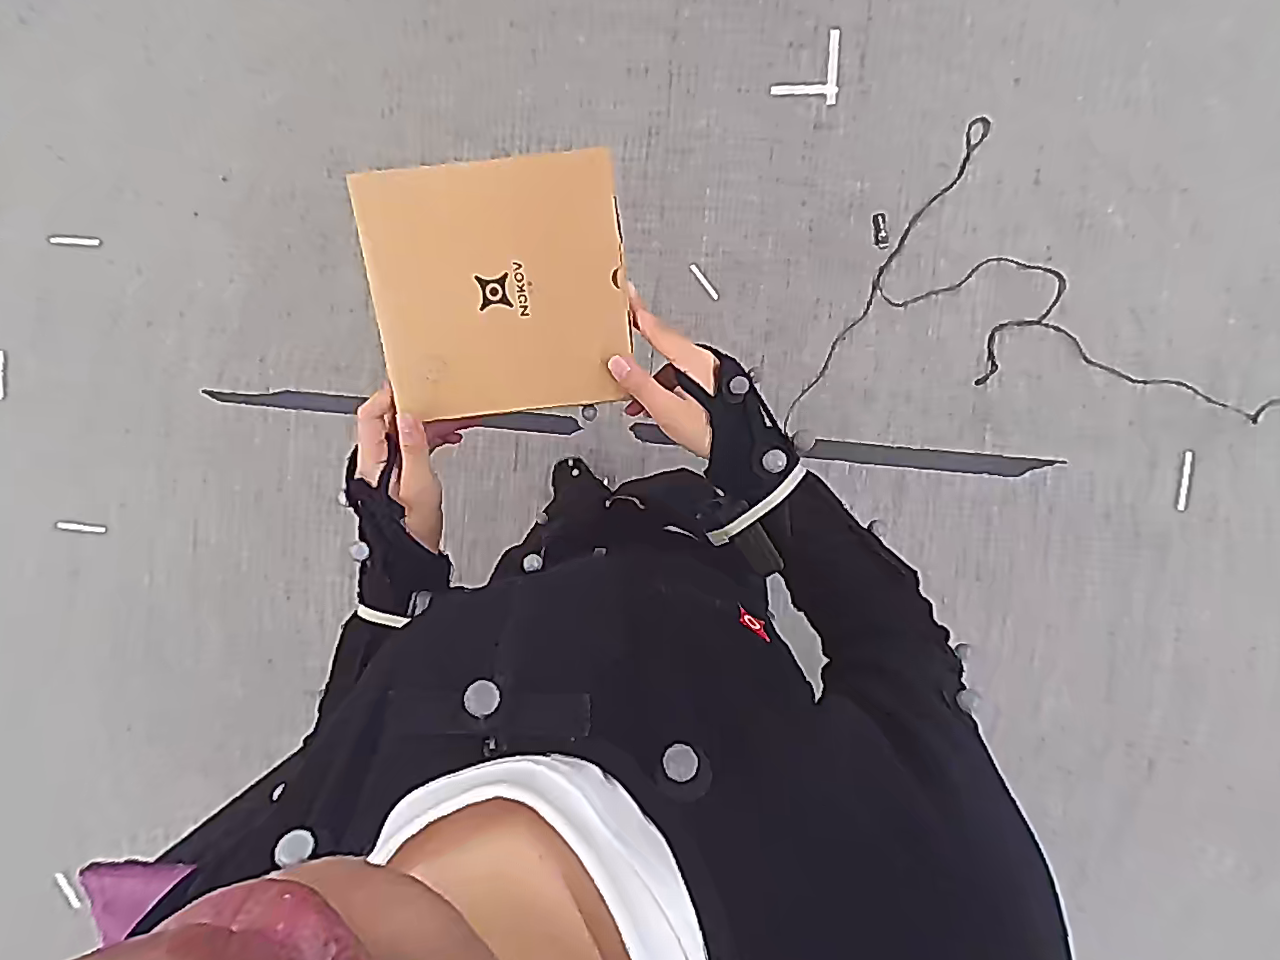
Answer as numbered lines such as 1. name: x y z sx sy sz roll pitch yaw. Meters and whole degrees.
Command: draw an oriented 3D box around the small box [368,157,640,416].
1. small box: -0.095 -0.149 0.462 0.179 0.176 0.168 -7 103 -1
